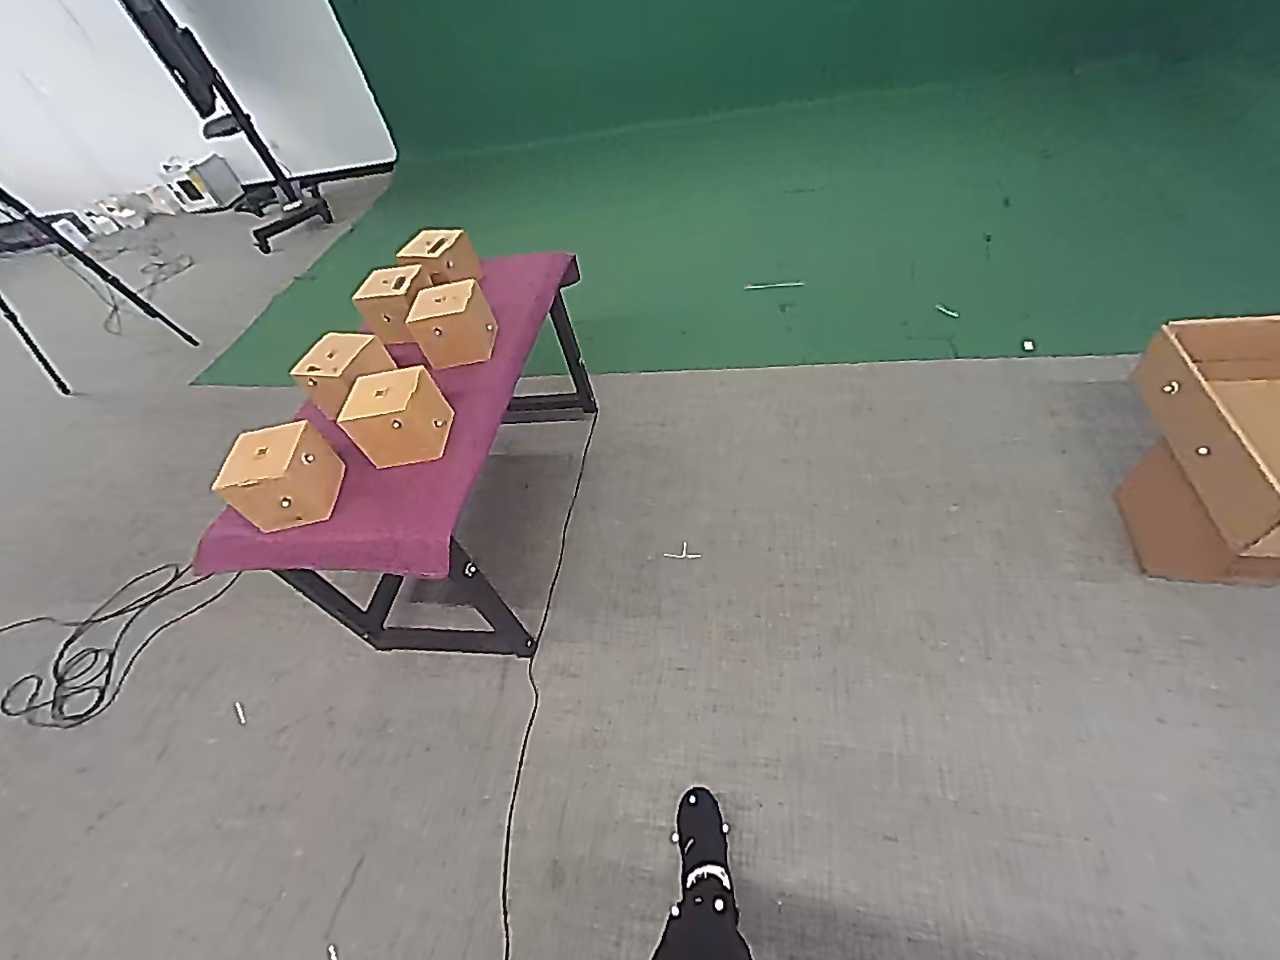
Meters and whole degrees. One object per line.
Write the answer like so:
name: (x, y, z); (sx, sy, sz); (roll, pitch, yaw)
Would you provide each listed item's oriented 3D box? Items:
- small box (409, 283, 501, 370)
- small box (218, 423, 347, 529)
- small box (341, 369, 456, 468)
small box: (-0.527, -0.437, 1.561); (0.179, 0.176, 0.168); (-8, 50, 8)
small box: (-0.820, -0.002, 1.264); (0.168, 0.176, 0.179); (-11, 48, 3)
small box: (-0.584, -0.146, 1.331); (0.179, 0.176, 0.168); (-8, 49, 7)
